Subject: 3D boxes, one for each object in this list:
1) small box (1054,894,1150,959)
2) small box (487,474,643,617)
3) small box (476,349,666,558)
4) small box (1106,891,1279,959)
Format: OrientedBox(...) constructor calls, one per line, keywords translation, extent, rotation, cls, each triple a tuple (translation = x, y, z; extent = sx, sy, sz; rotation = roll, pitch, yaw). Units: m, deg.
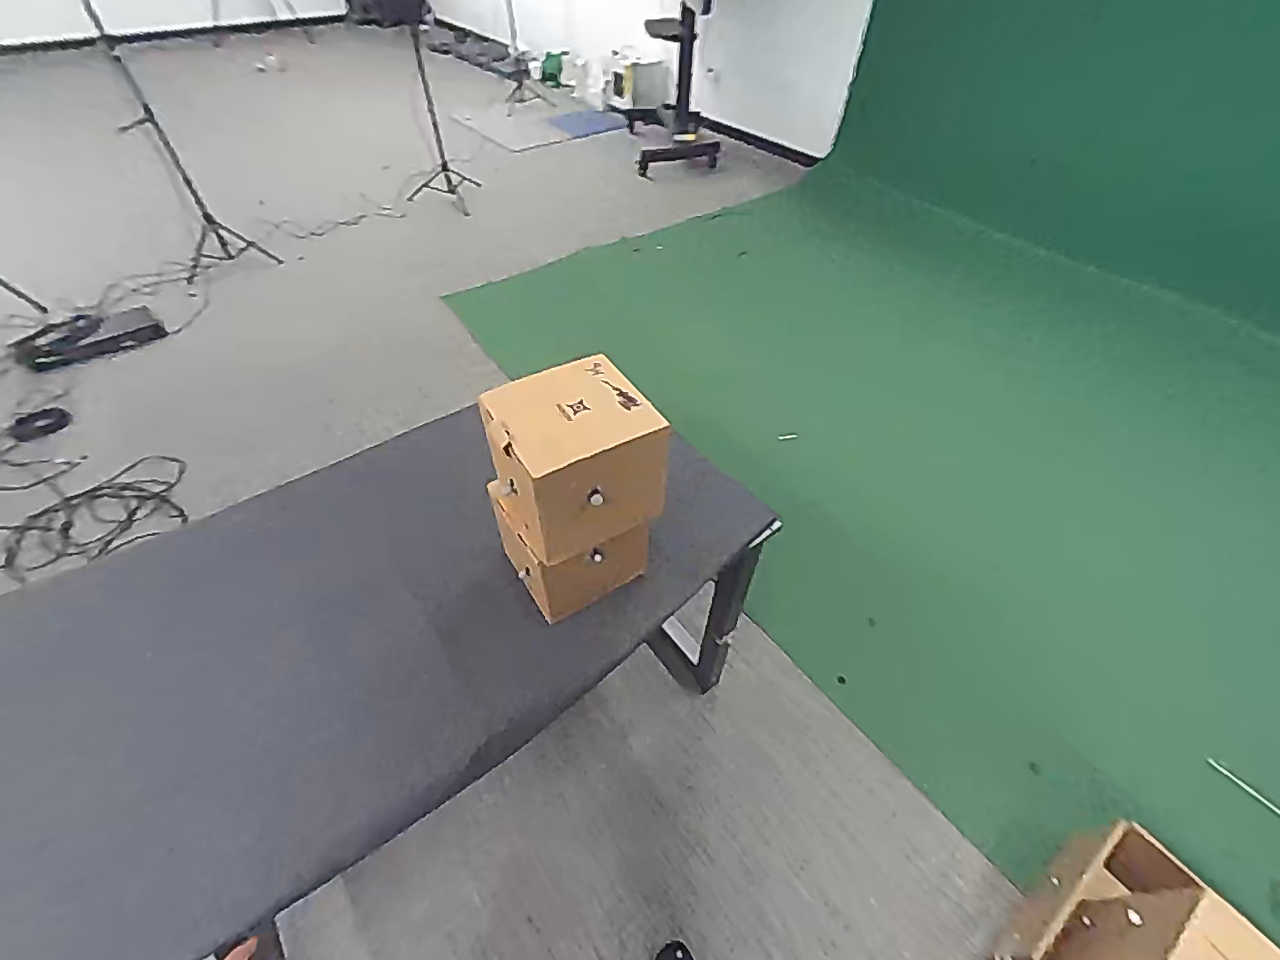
OrientedBox(translation=(0.927, 0.917, 0.998), extent=(0.168, 0.176, 0.179), rotation=(-29, 57, -23), cls="small box")
OrientedBox(translation=(-0.104, 0.073, 0.810), extent=(0.179, 0.176, 0.168), rotation=(-26, 54, -23), cls="small box")
OrientedBox(translation=(-0.081, -0.031, 0.684), extent=(0.179, 0.176, 0.168), rotation=(-24, 53, -21), cls="small box")
OrientedBox(translation=(0.927, 0.811, 0.872), extent=(0.168, 0.176, 0.179), rotation=(-28, 55, -23), cls="small box")
